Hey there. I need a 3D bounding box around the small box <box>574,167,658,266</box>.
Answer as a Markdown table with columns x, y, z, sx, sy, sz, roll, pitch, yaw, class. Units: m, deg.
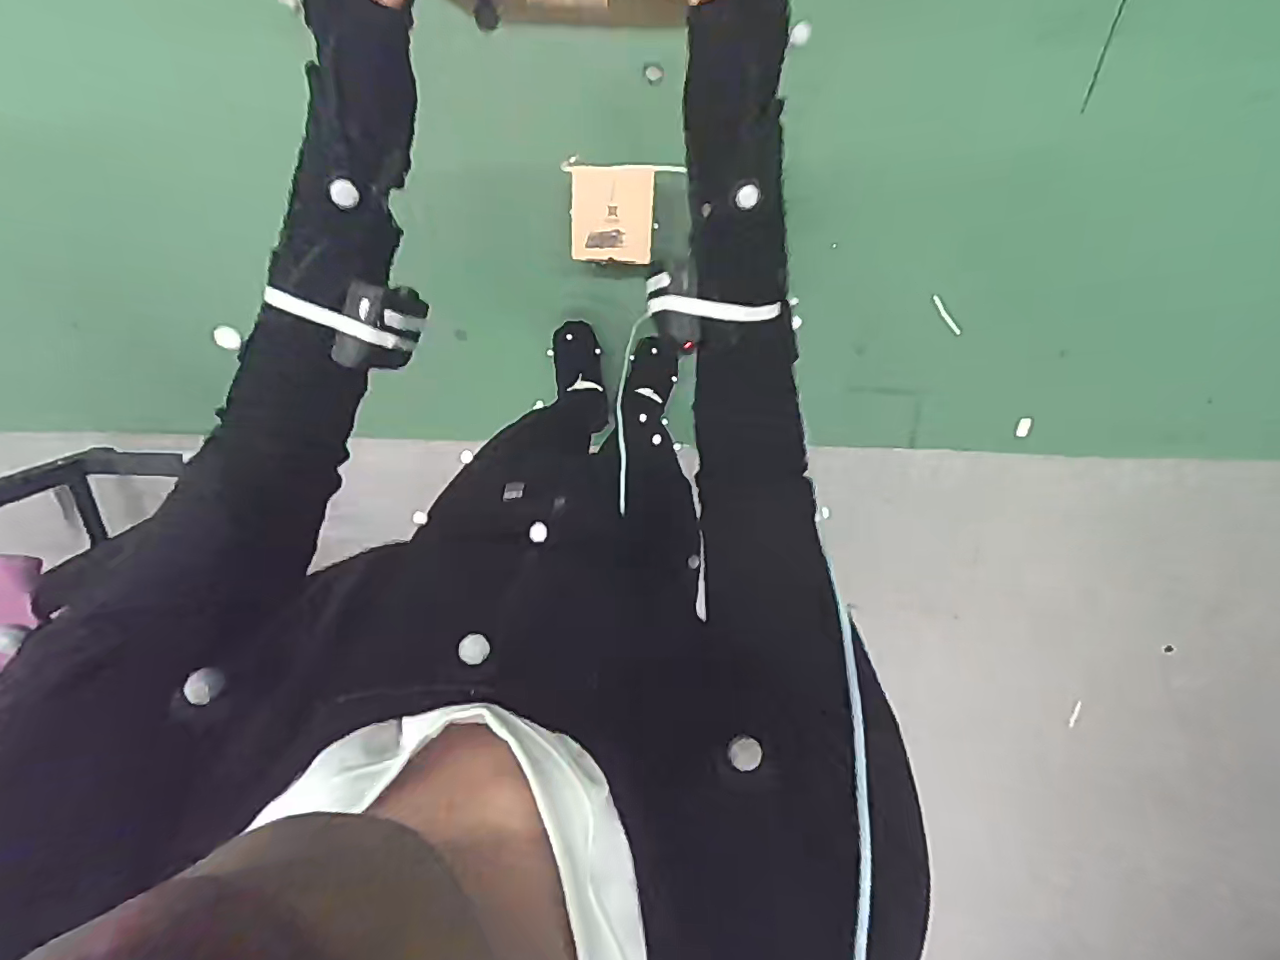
| x | y | z | sx | sy | sz | roll | pitch | yaw | class |
| --- | --- | --- | --- | --- | --- | --- | --- | --- | --- |
| -0.048 | -0.566 | 1.178 | 0.168 | 0.176 | 0.179 | 4 | 111 | 1 | small box |
